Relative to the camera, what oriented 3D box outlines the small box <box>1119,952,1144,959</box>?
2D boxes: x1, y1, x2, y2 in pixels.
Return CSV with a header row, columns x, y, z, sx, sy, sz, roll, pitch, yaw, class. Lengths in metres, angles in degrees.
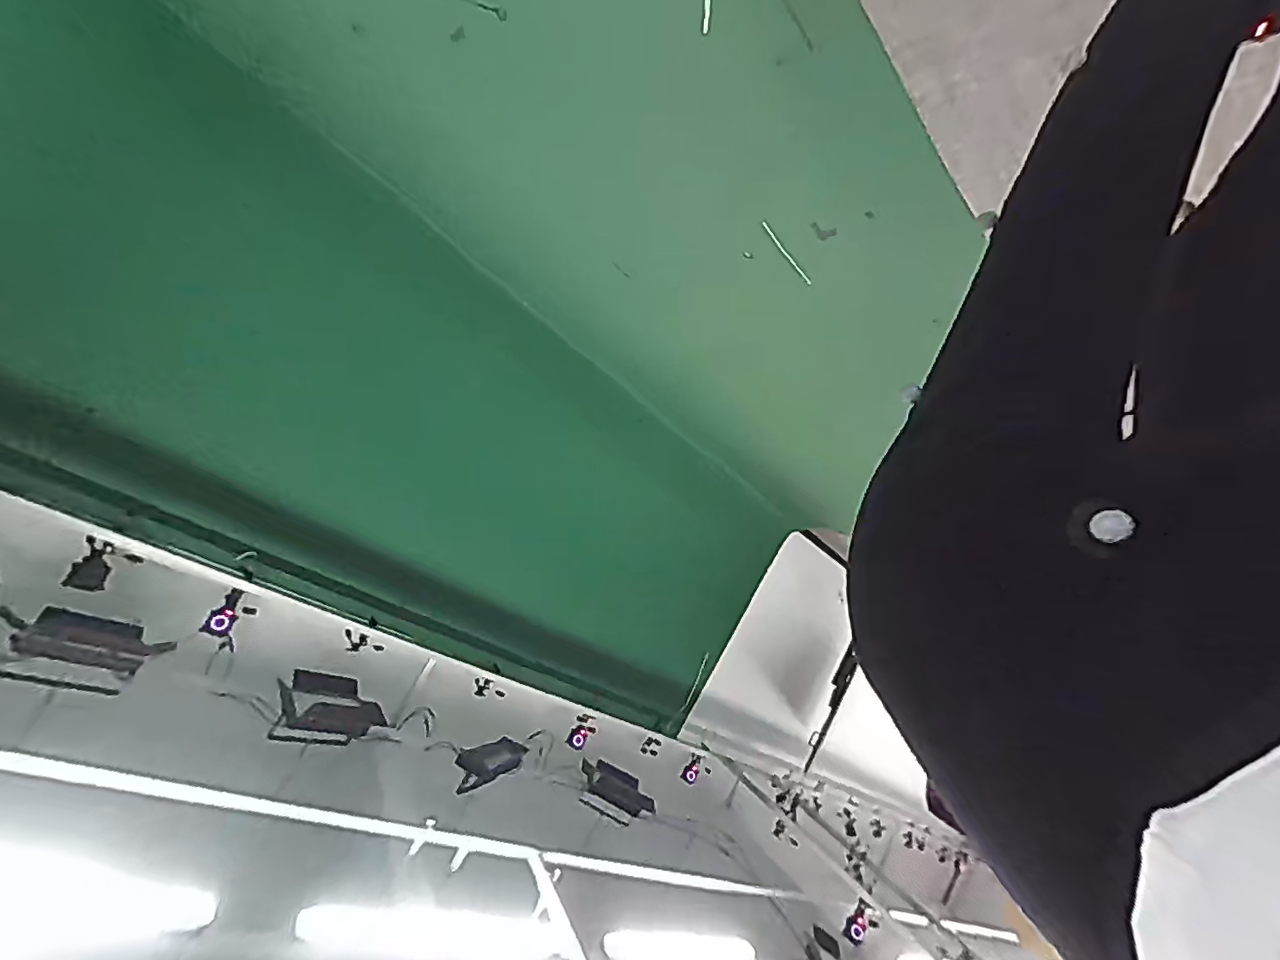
x,y,z,sx,sy,sz,roll,pitch,yaw,class
1.349,1.382,1.409,0.179,0.176,0.168,35,170,-31,small box
